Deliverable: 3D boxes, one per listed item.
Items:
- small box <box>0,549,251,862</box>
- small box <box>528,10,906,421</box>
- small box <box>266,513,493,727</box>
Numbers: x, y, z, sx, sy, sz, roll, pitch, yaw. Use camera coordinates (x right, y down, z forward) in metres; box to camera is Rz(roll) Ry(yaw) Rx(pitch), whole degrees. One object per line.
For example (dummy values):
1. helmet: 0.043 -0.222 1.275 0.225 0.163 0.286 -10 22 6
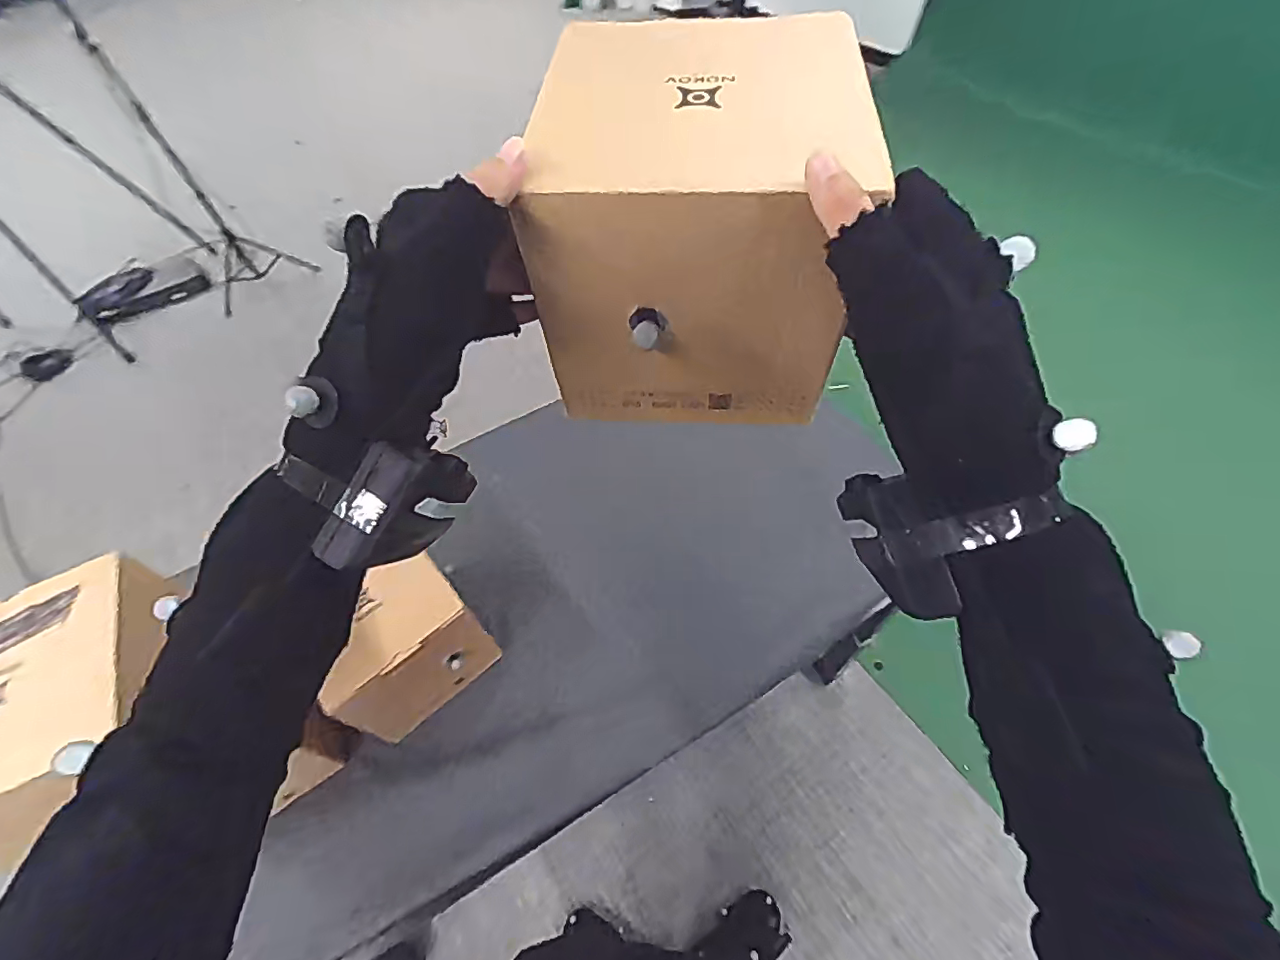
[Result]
1. small box: -0.477 0.197 0.467 0.168 0.176 0.179 -25 58 -15
2. small box: 0.043 -0.153 0.340 0.168 0.176 0.179 3 59 5
3. small box: -0.310 0.181 0.674 0.168 0.176 0.179 -37 61 -22
